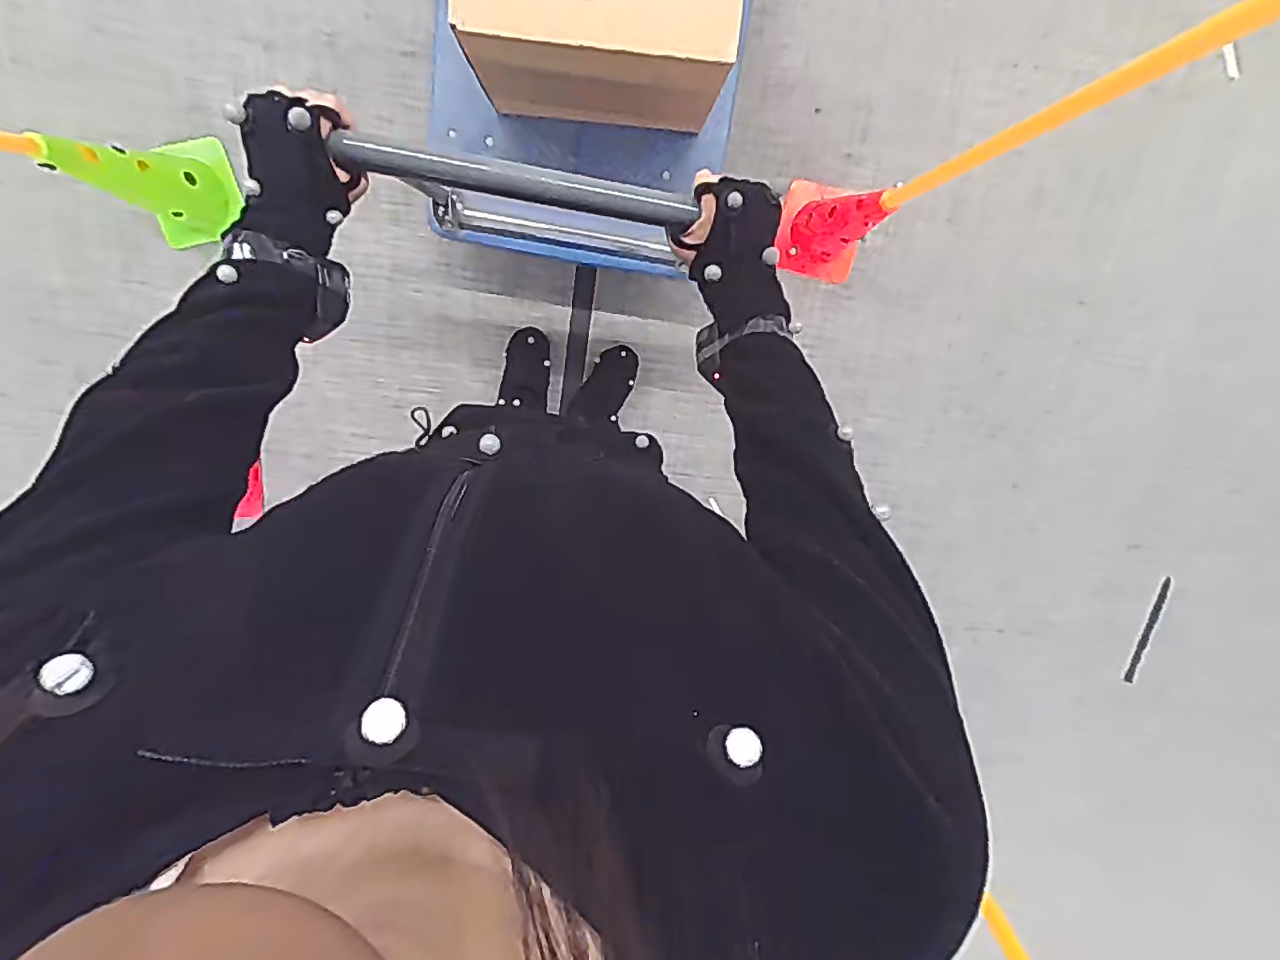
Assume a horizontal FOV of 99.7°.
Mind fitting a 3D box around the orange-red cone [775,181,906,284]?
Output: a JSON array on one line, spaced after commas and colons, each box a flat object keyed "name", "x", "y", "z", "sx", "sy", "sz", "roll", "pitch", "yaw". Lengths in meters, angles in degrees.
[{"name": "orange-red cone", "x": 0.451, "y": -0.542, "z": 1.136, "sx": 0.199, "sy": 0.360, "sz": 0.198, "roll": 13, "pitch": 106, "yaw": -8}]
